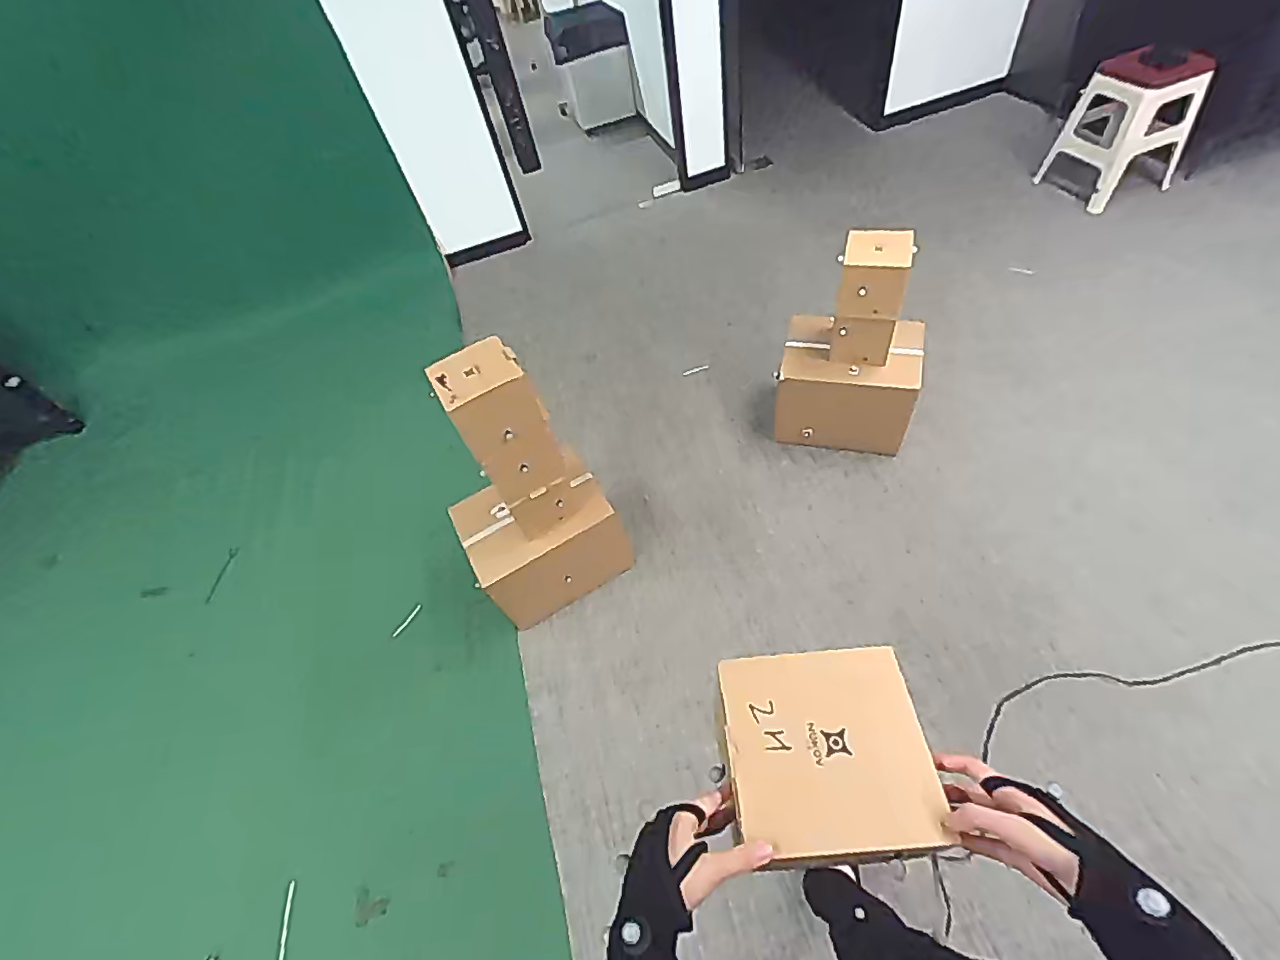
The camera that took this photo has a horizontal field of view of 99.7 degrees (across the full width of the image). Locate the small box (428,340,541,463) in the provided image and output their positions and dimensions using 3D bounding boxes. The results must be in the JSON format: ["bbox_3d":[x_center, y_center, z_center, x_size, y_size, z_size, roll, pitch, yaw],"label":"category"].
[{"bbox_3d":[-0.333,-0.171,1.194,0.179,0.176,0.168,-29,52,-12],"label":"small box"}]

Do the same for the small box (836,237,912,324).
[{"bbox_3d":[0.643,-0.550,1.495,0.168,0.176,0.179,9,53,18],"label":"small box"}]

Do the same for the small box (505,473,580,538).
[{"bbox_3d":[-0.278,0.032,1.447,0.168,0.176,0.179,-29,52,-11],"label":"small box"}]

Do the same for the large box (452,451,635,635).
[{"bbox_3d":[-0.281,0.192,1.636,0.408,0.320,0.320,-30,52,-10],"label":"large box"}]

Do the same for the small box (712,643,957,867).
[{"bbox_3d":[0.170,0.278,0.542,0.179,0.176,0.168,-6,50,2],"label":"small box"}]

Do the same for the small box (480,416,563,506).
[{"bbox_3d":[-0.304,-0.071,1.322,0.179,0.176,0.168,-30,53,-12],"label":"small box"}]
